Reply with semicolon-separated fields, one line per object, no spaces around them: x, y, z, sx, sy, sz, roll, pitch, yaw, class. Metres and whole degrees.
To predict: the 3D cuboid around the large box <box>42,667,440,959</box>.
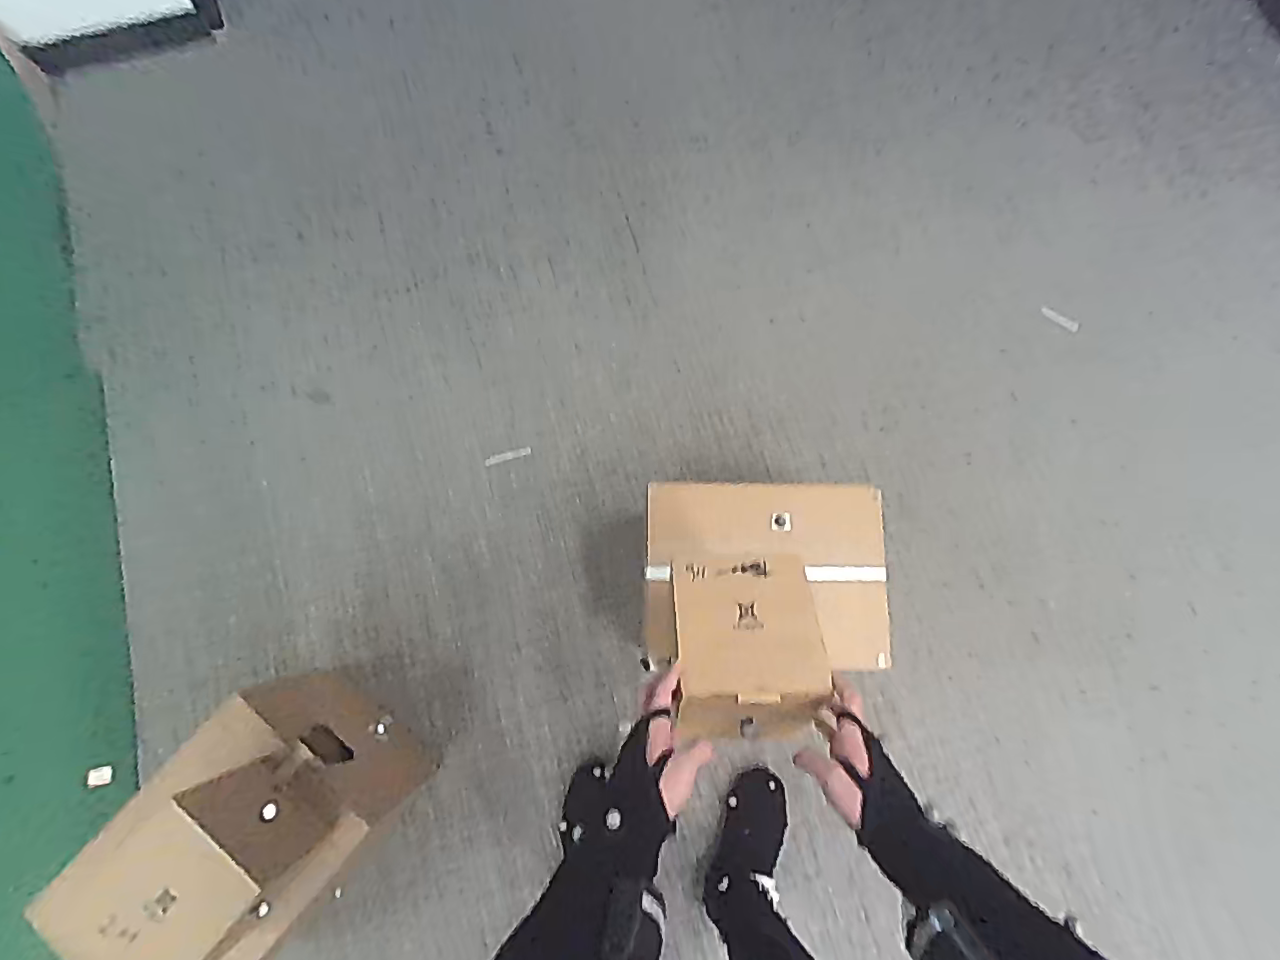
-0.644;0.605;0.955;0.320;0.320;0.408;39;81;9;large box

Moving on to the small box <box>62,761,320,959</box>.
-0.571;0.516;0.723;0.168;0.176;0.179;39;80;7;small box

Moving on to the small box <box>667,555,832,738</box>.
0.121;0.212;0.675;0.168;0.176;0.179;0;50;0;small box
